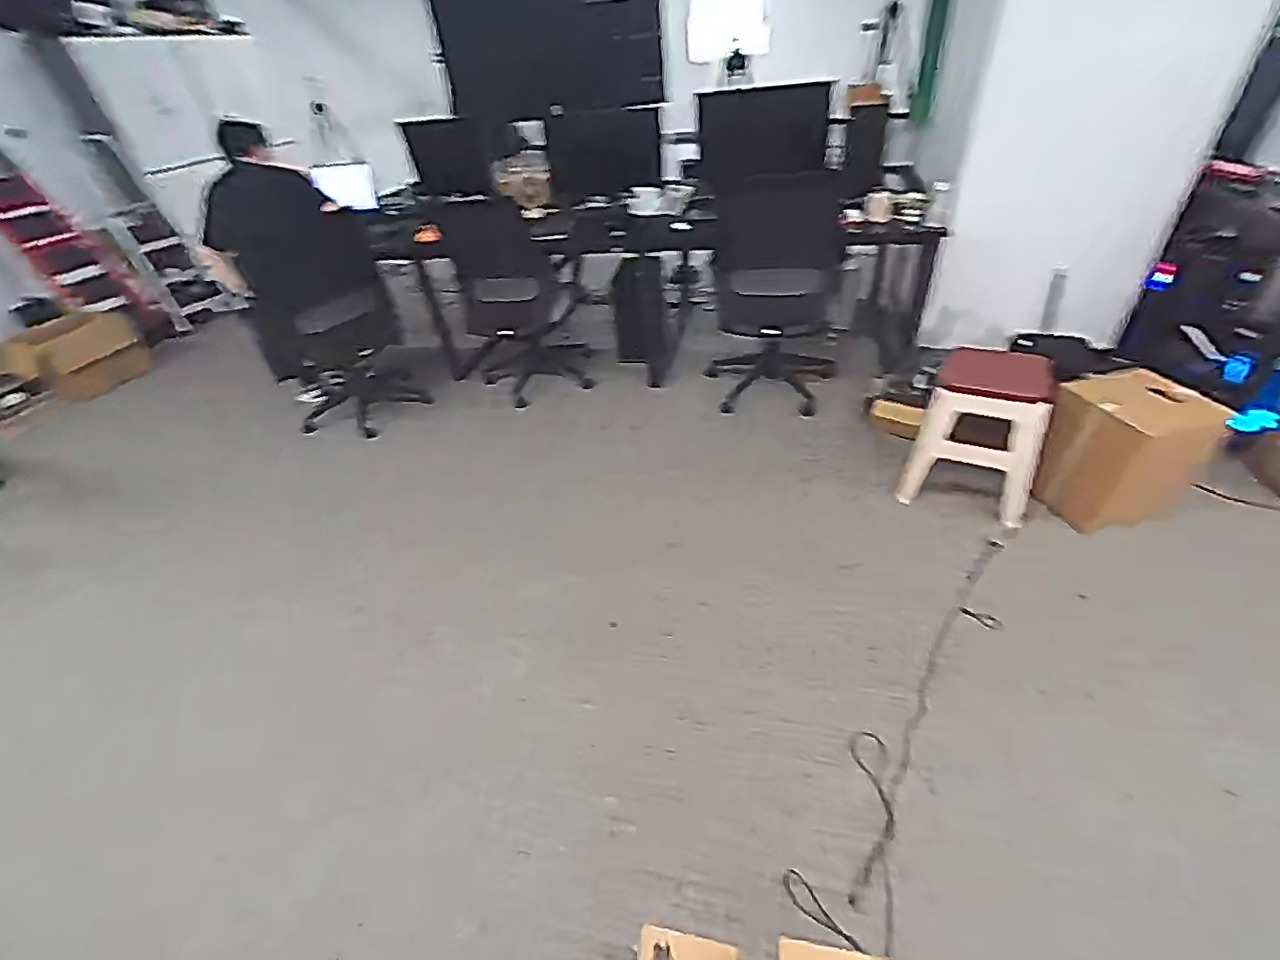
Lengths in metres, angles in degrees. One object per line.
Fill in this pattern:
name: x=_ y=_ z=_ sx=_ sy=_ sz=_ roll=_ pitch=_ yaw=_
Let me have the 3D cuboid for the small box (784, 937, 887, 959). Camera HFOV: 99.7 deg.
small box: x=0.290 y=0.808 z=0.781 sx=0.168 sy=0.176 sz=0.179 roll=2 pitch=40 yaw=13
